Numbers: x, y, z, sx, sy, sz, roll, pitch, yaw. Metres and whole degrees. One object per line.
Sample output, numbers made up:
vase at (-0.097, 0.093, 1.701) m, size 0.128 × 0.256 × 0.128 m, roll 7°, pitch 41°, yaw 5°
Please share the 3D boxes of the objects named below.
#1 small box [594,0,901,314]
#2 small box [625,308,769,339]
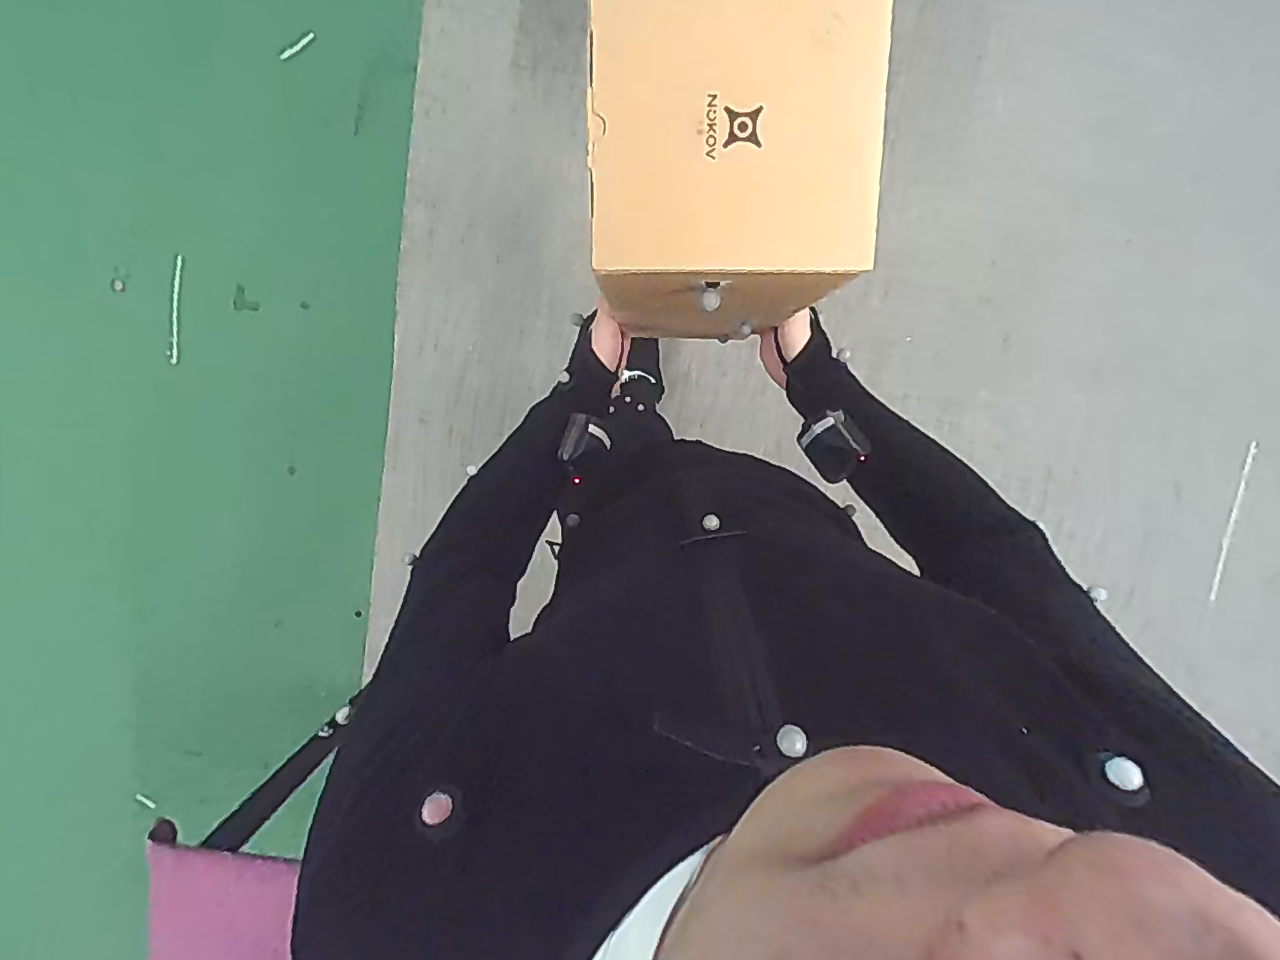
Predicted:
small box at (0.062, -0.219, 0.398) m, size 0.179 × 0.176 × 0.168 m, roll 1°, pitch 100°, yaw 2°
small box at (0.074, -0.283, 0.719) m, size 0.179 × 0.176 × 0.168 m, roll 3°, pitch 99°, yaw 2°
